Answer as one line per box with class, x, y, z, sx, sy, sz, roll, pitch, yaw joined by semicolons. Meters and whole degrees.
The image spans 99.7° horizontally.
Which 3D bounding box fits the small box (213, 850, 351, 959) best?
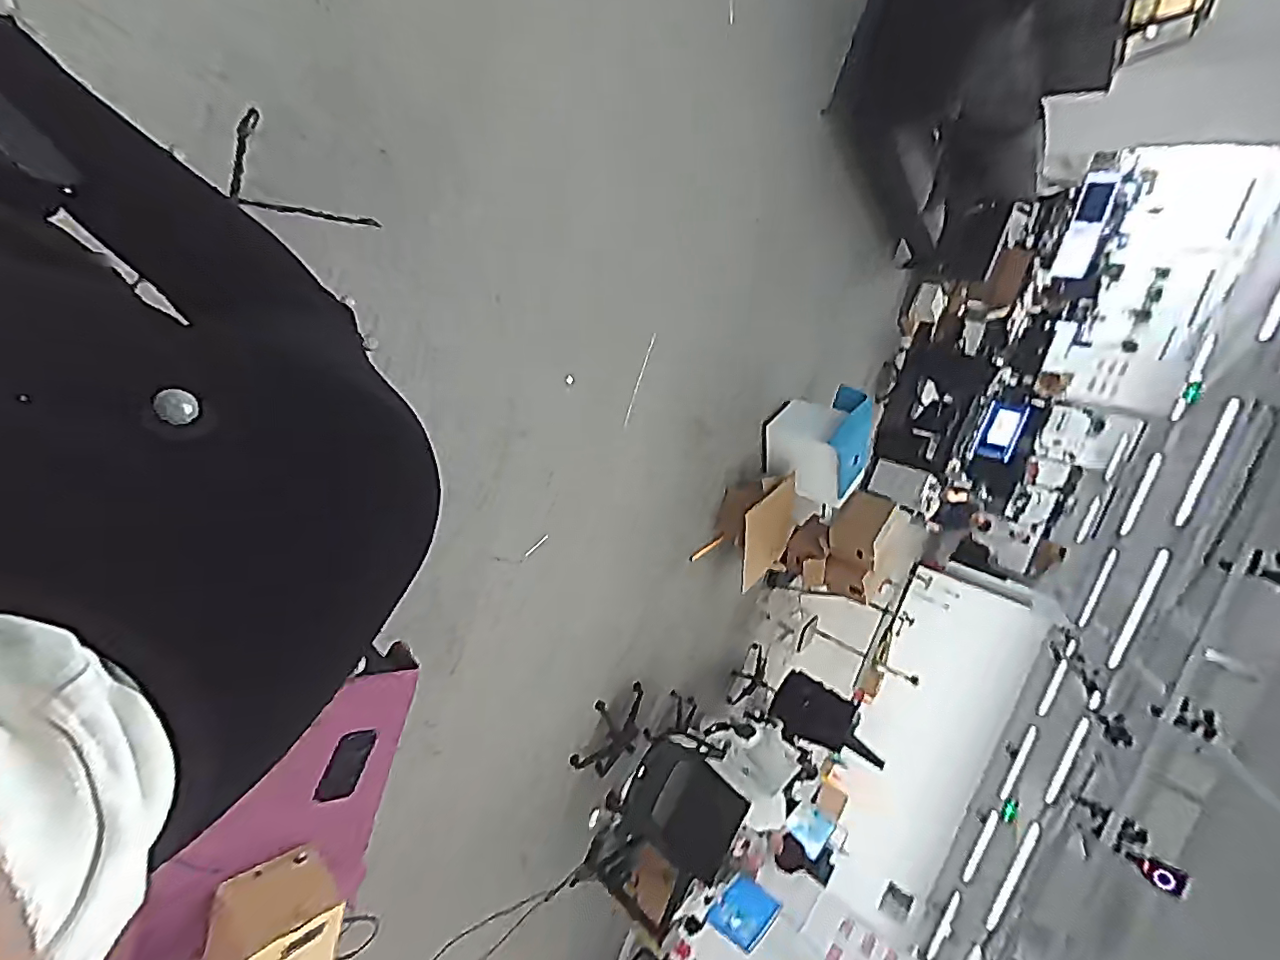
small box;-0.685;0.856;1.032;0.168;0.176;0.179;2;108;-52
